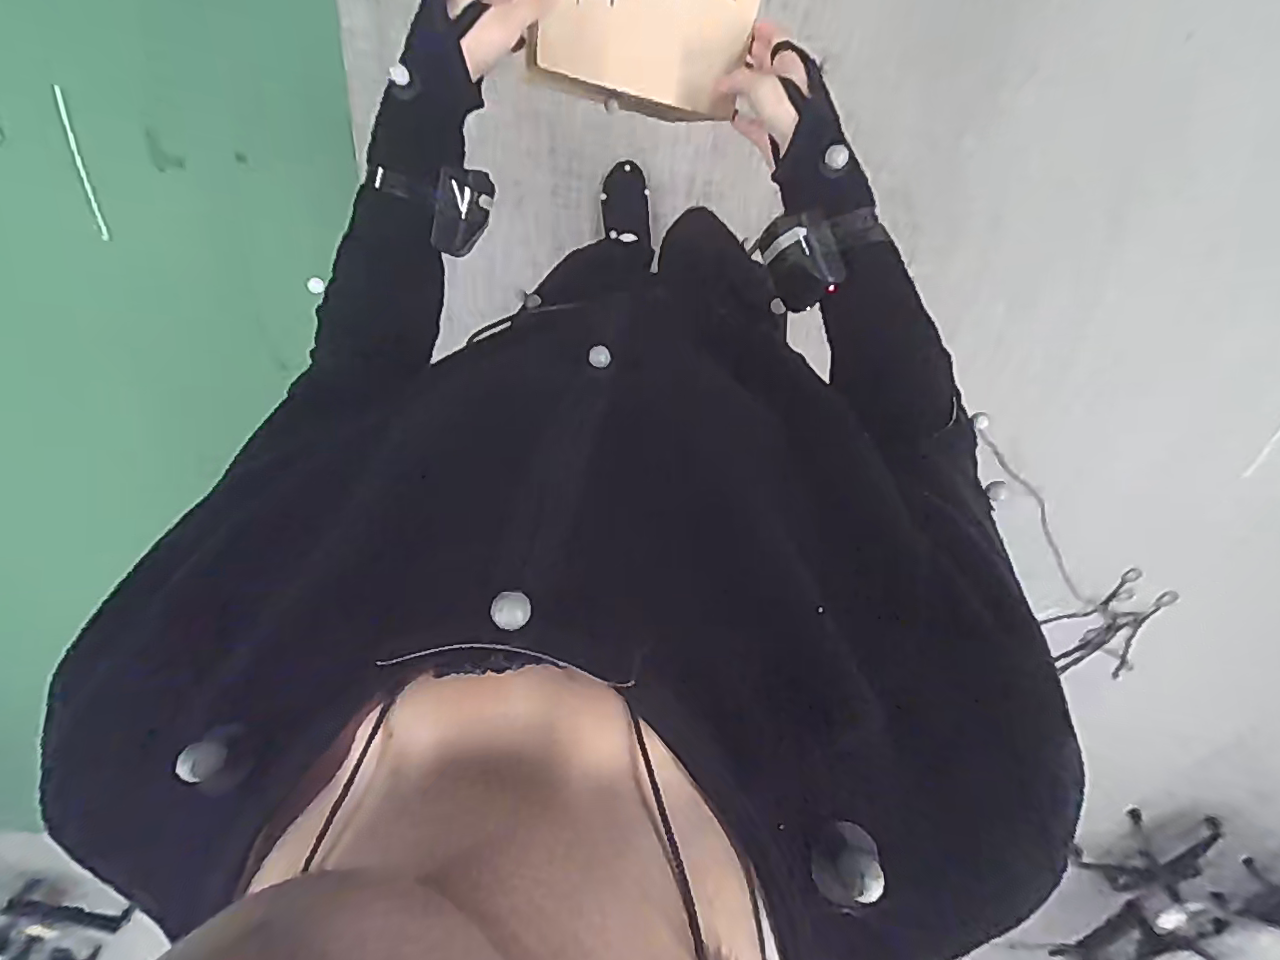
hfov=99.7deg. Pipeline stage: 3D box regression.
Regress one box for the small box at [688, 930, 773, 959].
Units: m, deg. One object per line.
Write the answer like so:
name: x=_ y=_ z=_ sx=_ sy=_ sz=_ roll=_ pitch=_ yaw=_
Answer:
small box: x=0.200 y=1.124 z=1.188 sx=0.179 sy=0.176 sz=0.168 roll=2 pitch=119 yaw=0

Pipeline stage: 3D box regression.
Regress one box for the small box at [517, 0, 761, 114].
small box: x=-0.006 y=-0.428 z=0.463 sx=0.179 sy=0.176 sz=0.168 roll=2 pitch=122 yaw=-20

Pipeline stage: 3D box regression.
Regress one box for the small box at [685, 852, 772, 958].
small box: x=0.209 y=1.047 z=1.330 sx=0.179 sy=0.176 sz=0.168 roll=4 pitch=120 yaw=0
